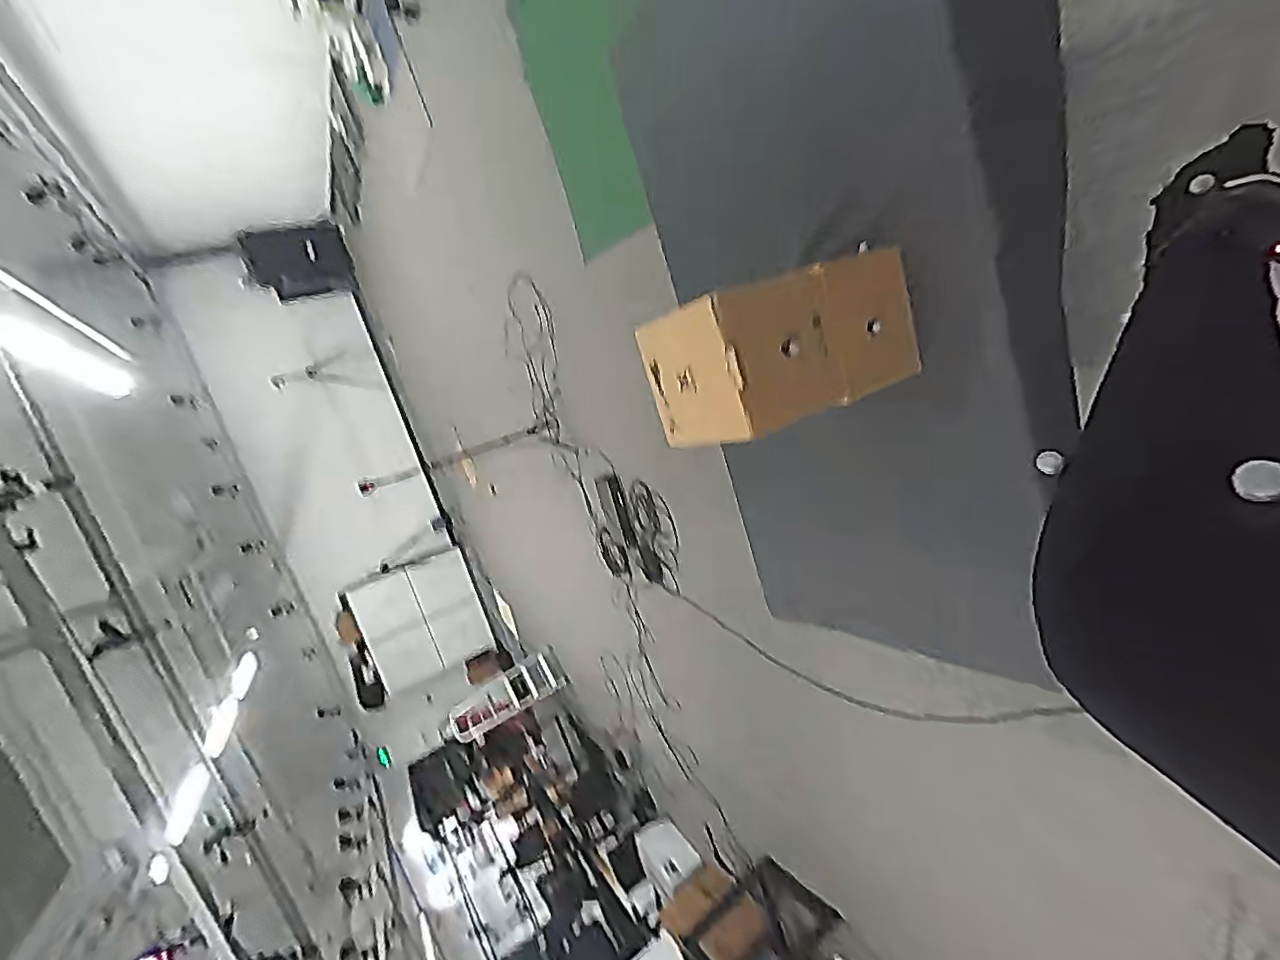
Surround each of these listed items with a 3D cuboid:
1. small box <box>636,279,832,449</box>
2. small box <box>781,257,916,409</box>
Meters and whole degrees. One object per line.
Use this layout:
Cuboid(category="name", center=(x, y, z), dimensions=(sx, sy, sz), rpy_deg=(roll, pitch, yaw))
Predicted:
Cuboid(category="small box", center=(0.127, -0.148, 0.709), dimensions=(0.179, 0.176, 0.168), rpy_deg=(0, 111, 60))
Cuboid(category="small box", center=(0.264, -0.206, 0.778), dimensions=(0.168, 0.176, 0.179), rpy_deg=(3, 114, 60))
